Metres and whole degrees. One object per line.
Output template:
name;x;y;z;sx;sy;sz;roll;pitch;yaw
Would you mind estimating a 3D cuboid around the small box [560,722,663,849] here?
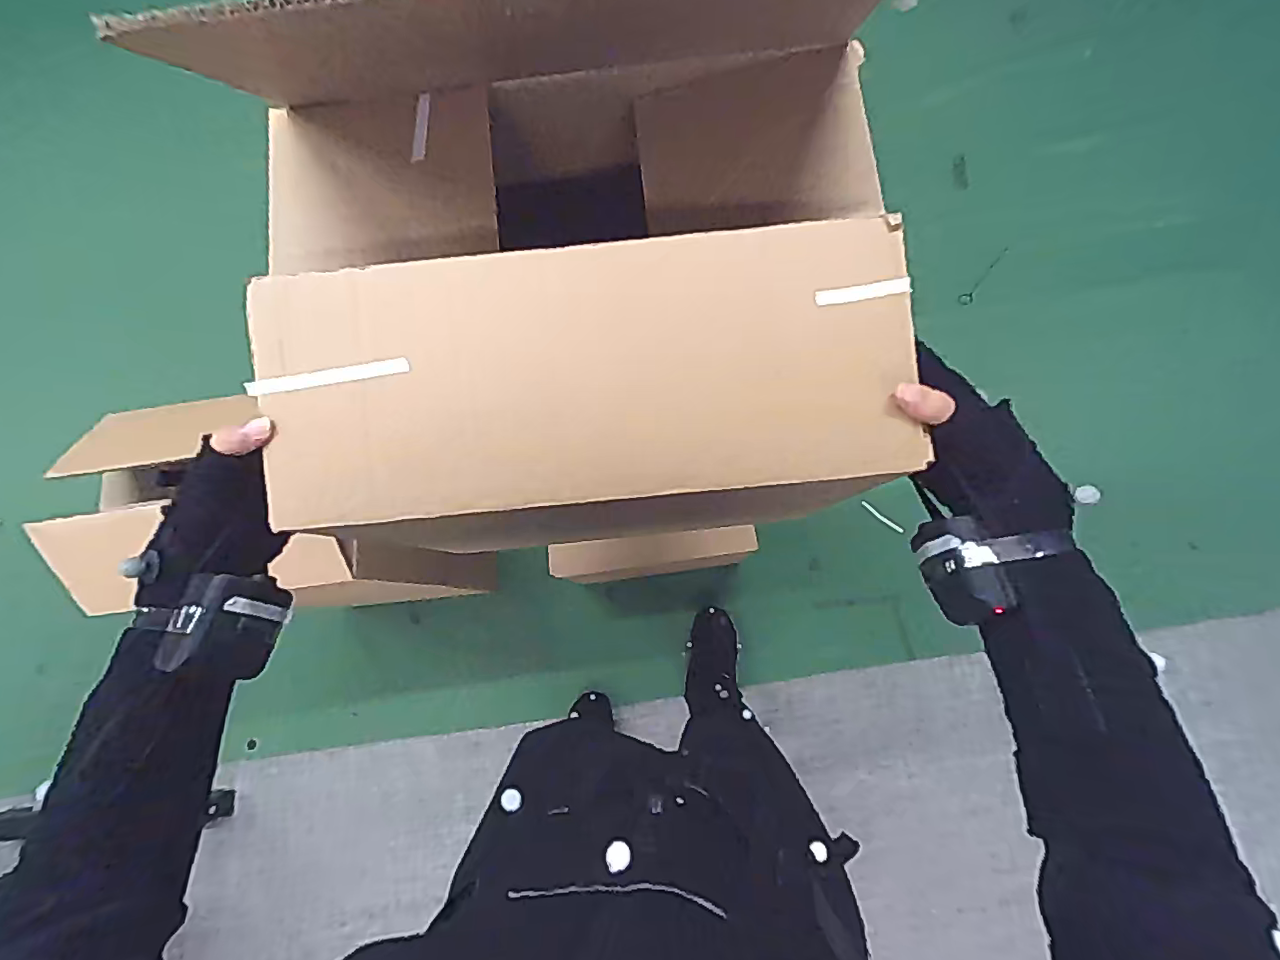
small box;-0.070;0.660;1.187;0.168;0.176;0.179;22;74;-9
